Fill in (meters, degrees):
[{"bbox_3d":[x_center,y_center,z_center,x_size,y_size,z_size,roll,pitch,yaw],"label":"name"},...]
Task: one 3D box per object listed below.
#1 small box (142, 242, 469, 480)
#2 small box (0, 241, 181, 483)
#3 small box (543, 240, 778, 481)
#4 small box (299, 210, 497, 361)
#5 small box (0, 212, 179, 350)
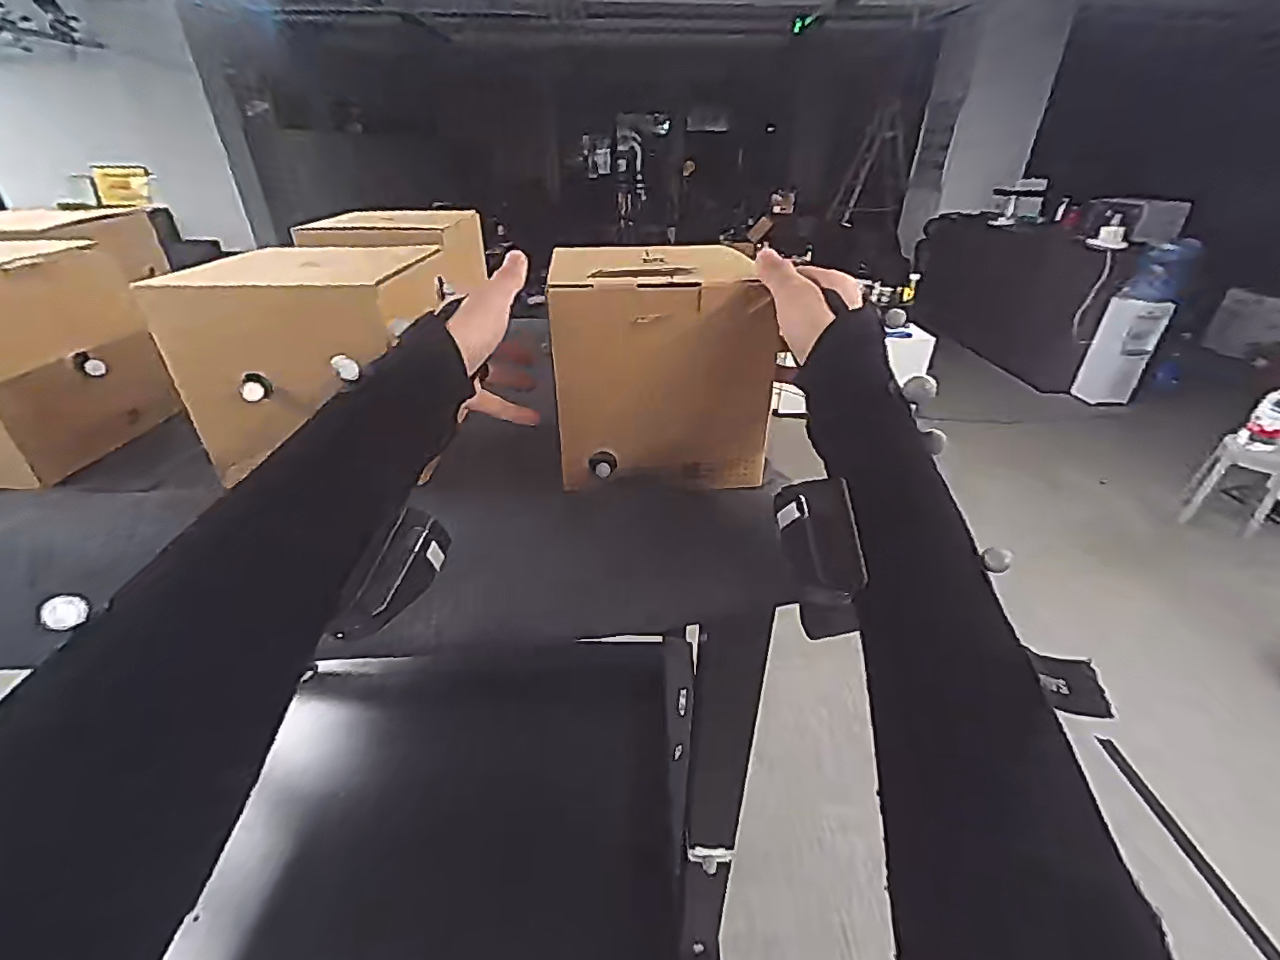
[{"bbox_3d":[-0.263,-0.109,0.485,0.168,0.176,0.179,-1,31,-1],"label":"small box"},{"bbox_3d":[-0.573,-0.107,0.480,0.179,0.176,0.168,1,31,-1],"label":"small box"},{"bbox_3d":[0.011,-0.107,0.476,0.168,0.176,0.179,-3,30,-4],"label":"small box"},{"bbox_3d":[-0.305,-0.260,0.727,0.179,0.176,0.168,0,32,0],"label":"small box"},{"bbox_3d":[-0.738,-0.251,0.710,0.168,0.176,0.179,-4,32,-5],"label":"small box"}]
